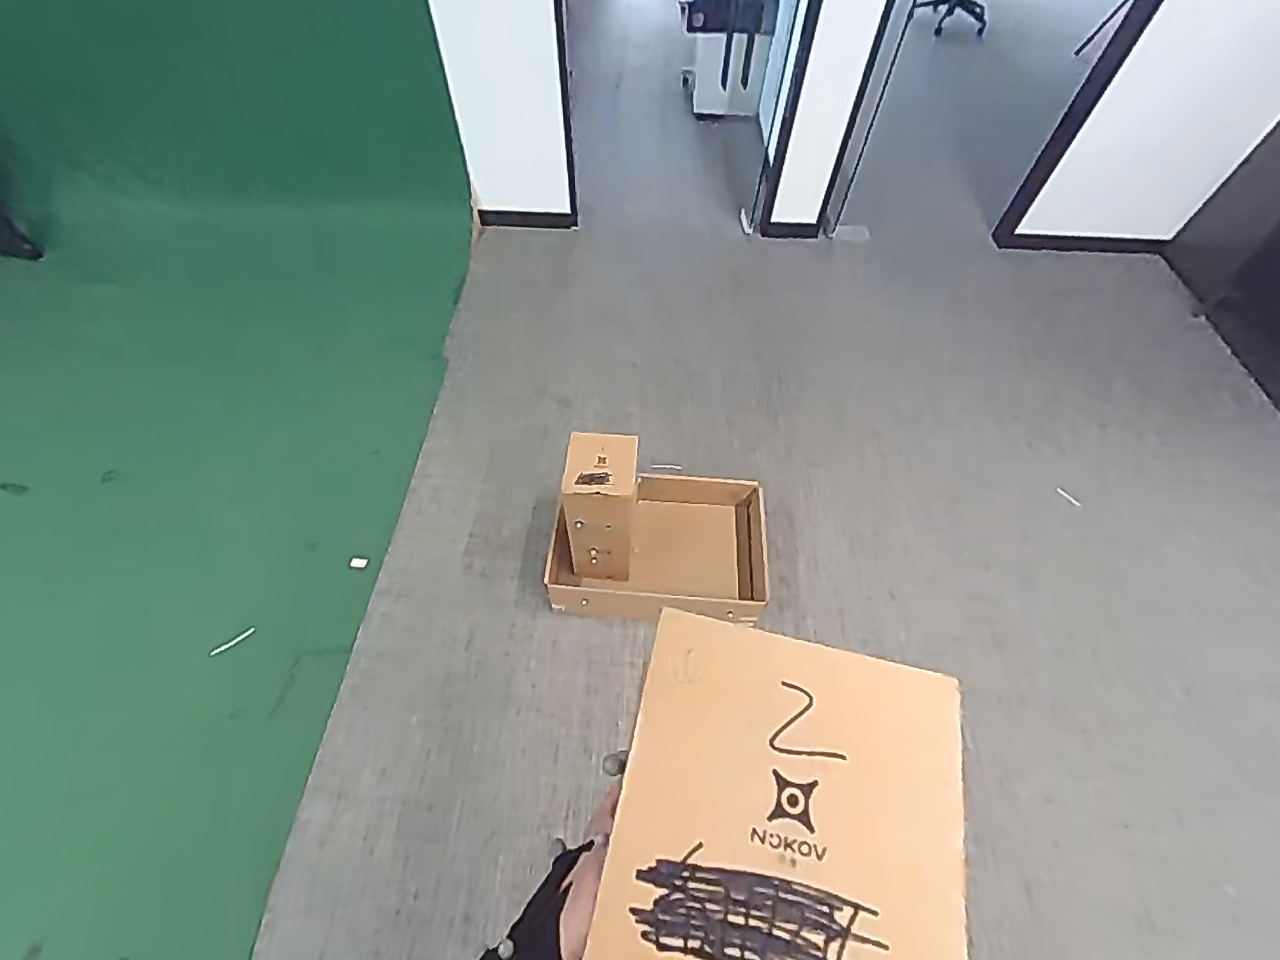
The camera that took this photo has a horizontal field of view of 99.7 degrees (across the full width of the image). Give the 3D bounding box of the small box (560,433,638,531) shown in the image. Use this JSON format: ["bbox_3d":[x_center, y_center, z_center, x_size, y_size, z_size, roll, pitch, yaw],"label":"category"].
[{"bbox_3d":[-0.094,0.009,1.316,0.168,0.176,0.179,4,56,0],"label":"small box"}]

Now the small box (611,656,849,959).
[{"bbox_3d":[0.071,0.272,0.479,0.168,0.176,0.179,10,64,4],"label":"small box"}]

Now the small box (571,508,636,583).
[{"bbox_3d":[-0.107,0.184,1.593,0.168,0.176,0.179,6,56,1],"label":"small box"}]

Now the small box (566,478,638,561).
[{"bbox_3d":[-0.100,0.097,1.455,0.168,0.176,0.179,6,57,2],"label":"small box"}]
